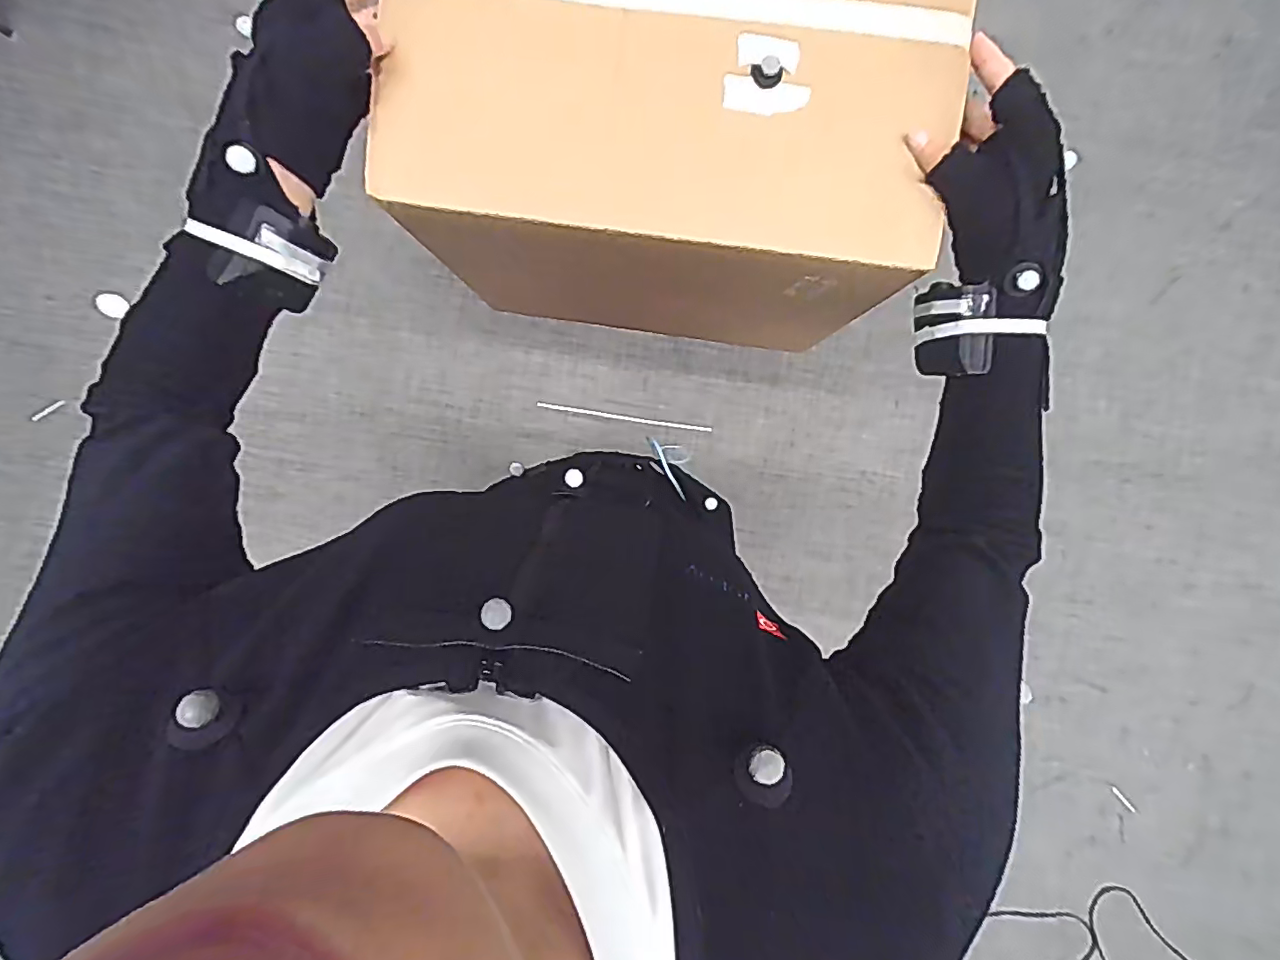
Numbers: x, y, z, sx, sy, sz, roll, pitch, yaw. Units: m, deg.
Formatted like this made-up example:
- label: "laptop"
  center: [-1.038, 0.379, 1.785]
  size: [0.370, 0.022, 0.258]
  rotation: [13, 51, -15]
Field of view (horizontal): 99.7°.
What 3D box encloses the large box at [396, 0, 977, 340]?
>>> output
- label: "large box"
  center: [0.035, -0.342, 0.530]
  size: [0.408, 0.320, 0.320]
  rotation: [8, 94, -1]
